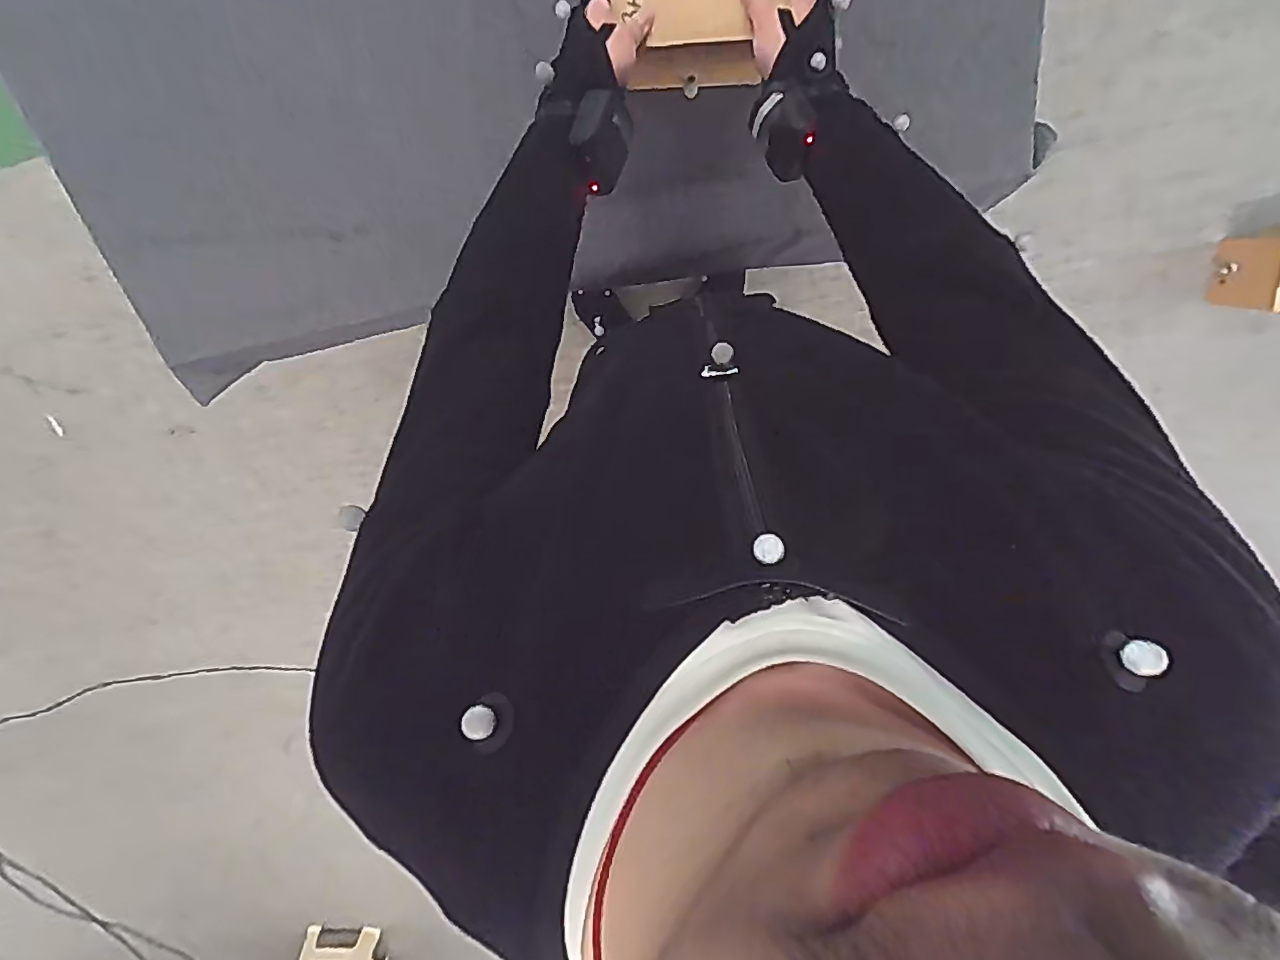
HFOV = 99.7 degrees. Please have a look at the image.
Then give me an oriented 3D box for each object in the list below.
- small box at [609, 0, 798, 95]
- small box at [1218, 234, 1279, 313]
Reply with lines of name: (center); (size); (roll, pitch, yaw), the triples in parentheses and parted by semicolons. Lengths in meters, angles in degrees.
small box: (0.055, -0.507, 0.546); (0.179, 0.176, 0.168); (-2, 115, 1)
small box: (1.607, -0.515, 1.327); (0.179, 0.176, 0.168); (-9, 112, 4)
